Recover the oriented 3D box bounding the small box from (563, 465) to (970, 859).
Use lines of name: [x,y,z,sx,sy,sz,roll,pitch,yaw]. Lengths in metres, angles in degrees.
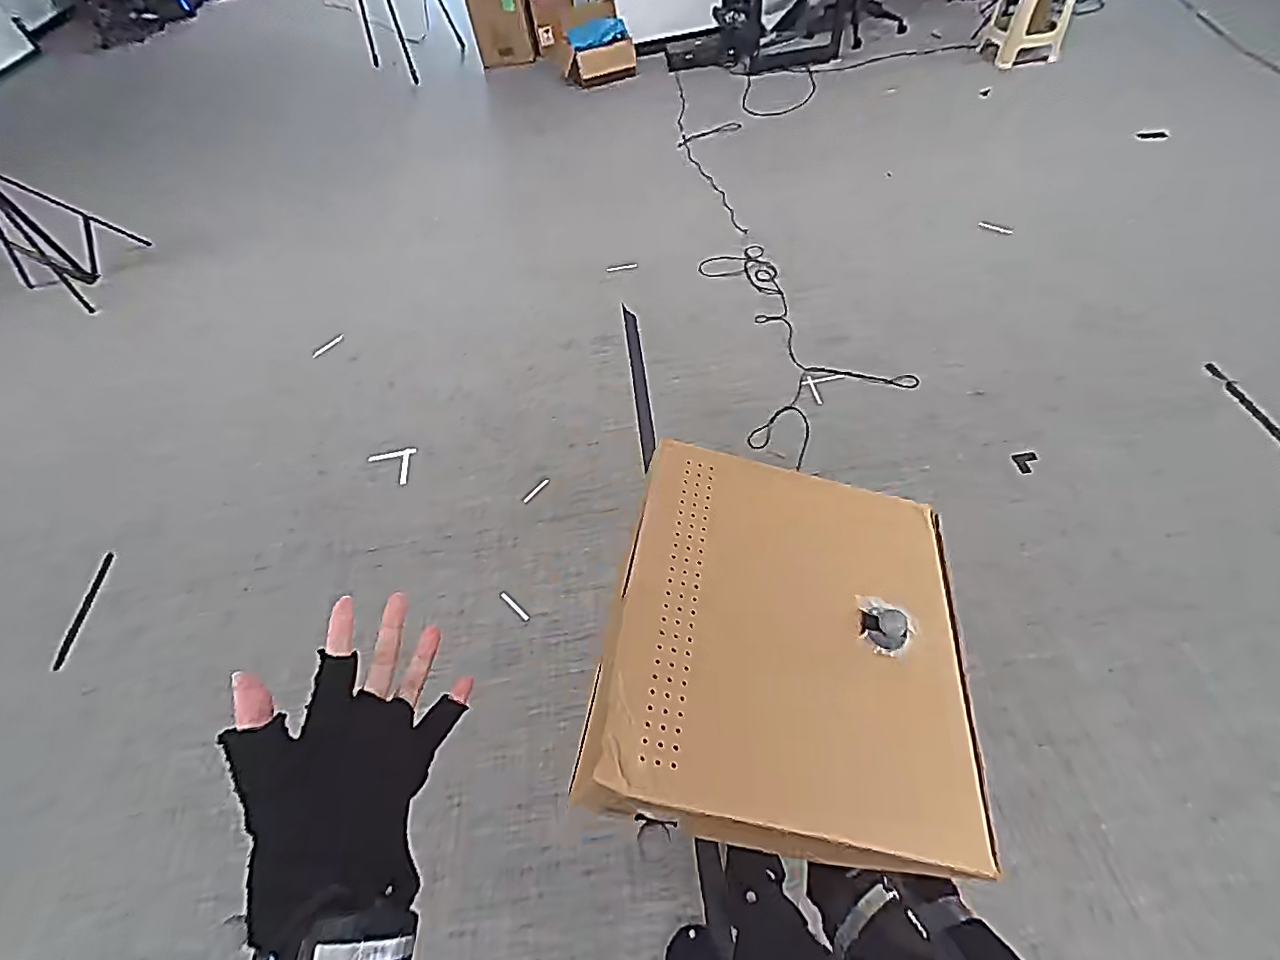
small box: [0.057,0.113,0.333,0.176,0.168,0.179,13,55,-1]
